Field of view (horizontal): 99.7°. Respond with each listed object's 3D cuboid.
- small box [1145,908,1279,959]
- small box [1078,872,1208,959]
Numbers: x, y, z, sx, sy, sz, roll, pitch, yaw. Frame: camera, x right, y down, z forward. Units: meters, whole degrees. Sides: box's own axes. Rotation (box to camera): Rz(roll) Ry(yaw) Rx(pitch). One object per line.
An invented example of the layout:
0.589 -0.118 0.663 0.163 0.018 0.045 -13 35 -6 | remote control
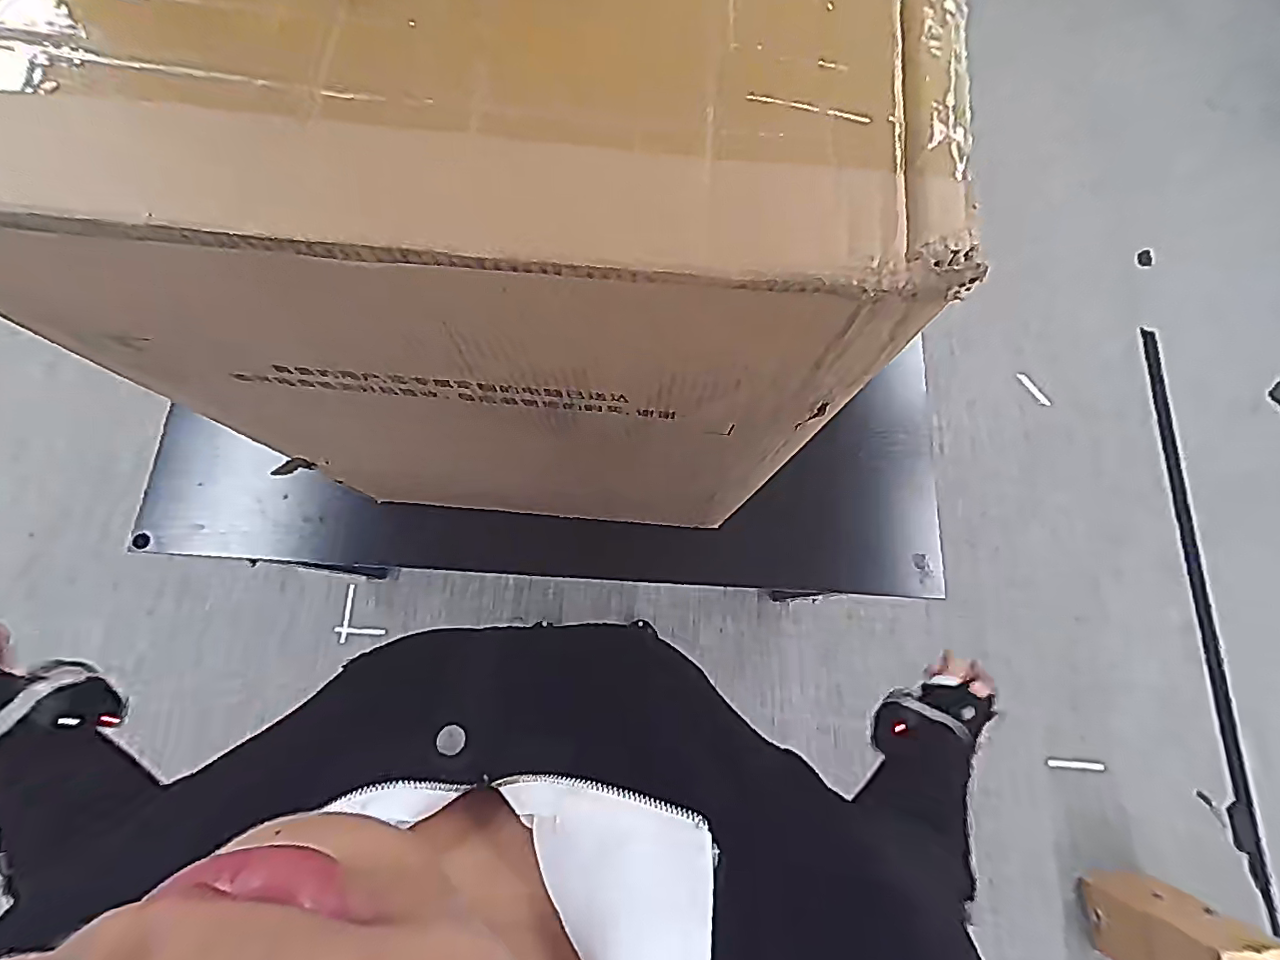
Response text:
1.214 1.028 1.126 0.168 0.176 0.179 -1 76 -2 | small box
1.206 1.064 1.287 0.179 0.176 0.168 -3 75 -2 | small box
